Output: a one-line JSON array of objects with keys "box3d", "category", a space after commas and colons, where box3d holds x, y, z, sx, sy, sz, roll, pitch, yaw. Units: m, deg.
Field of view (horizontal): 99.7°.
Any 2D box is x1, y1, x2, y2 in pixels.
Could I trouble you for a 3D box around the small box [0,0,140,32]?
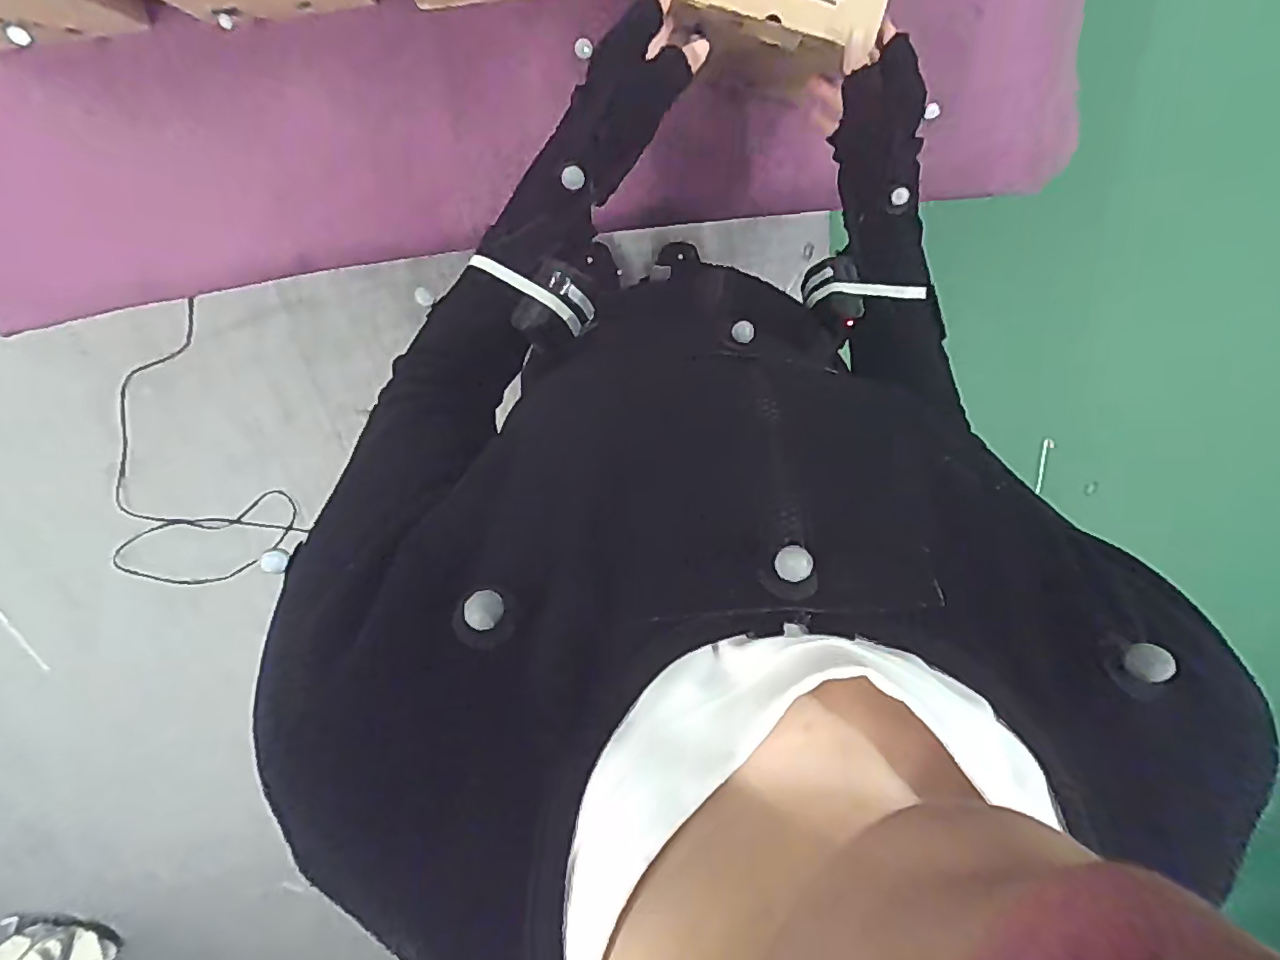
[{"box3d": [-0.550, -0.474, 0.402, 0.168, 0.176, 0.179, -7, 116, 0], "category": "small box"}]
